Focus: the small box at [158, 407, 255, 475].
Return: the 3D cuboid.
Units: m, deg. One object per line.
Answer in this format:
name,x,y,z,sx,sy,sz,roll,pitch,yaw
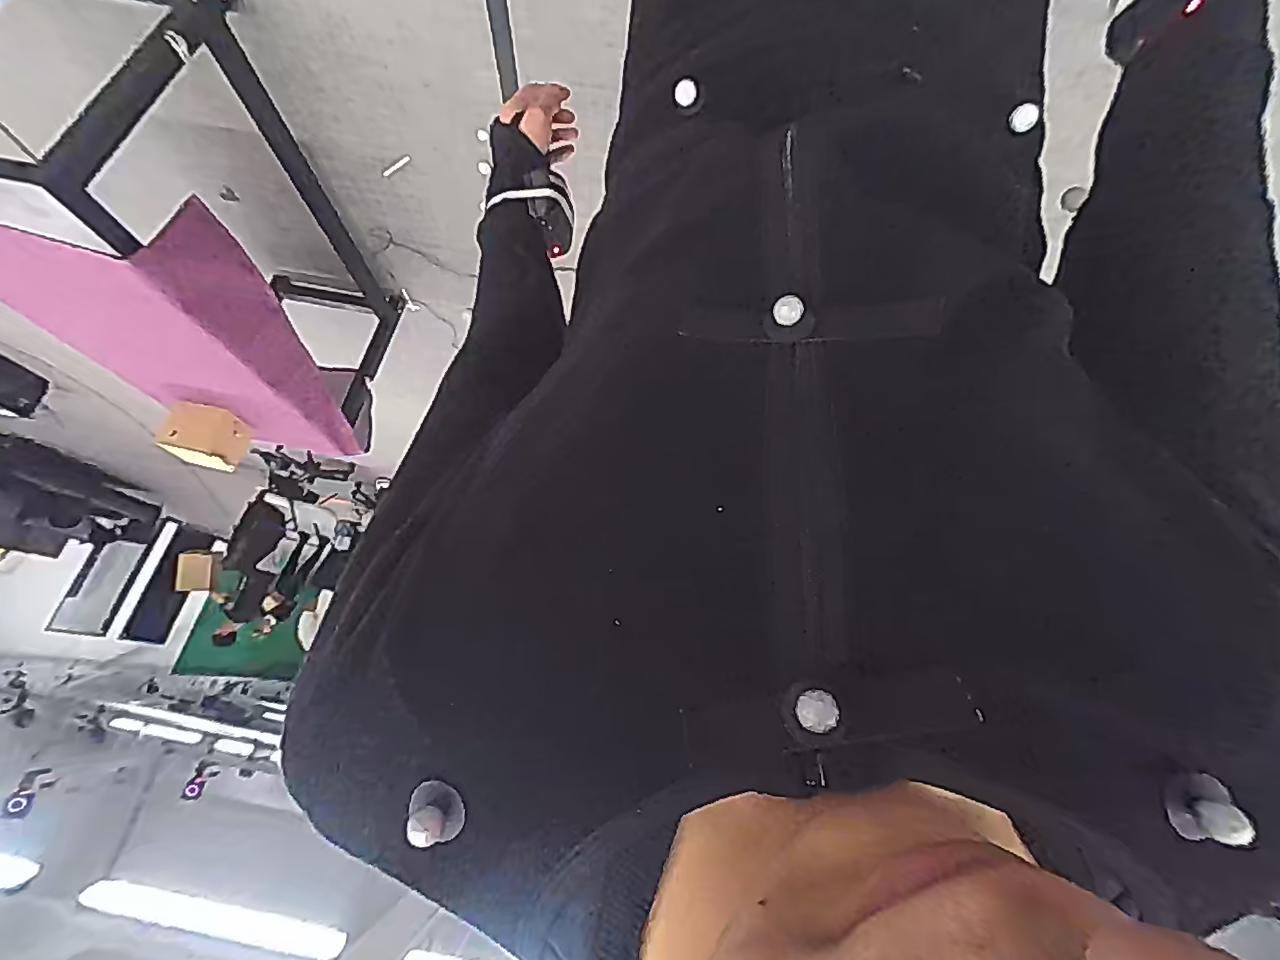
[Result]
small box,-1.513,-0.140,1.898,0.179,0.176,0.168,11,158,0
